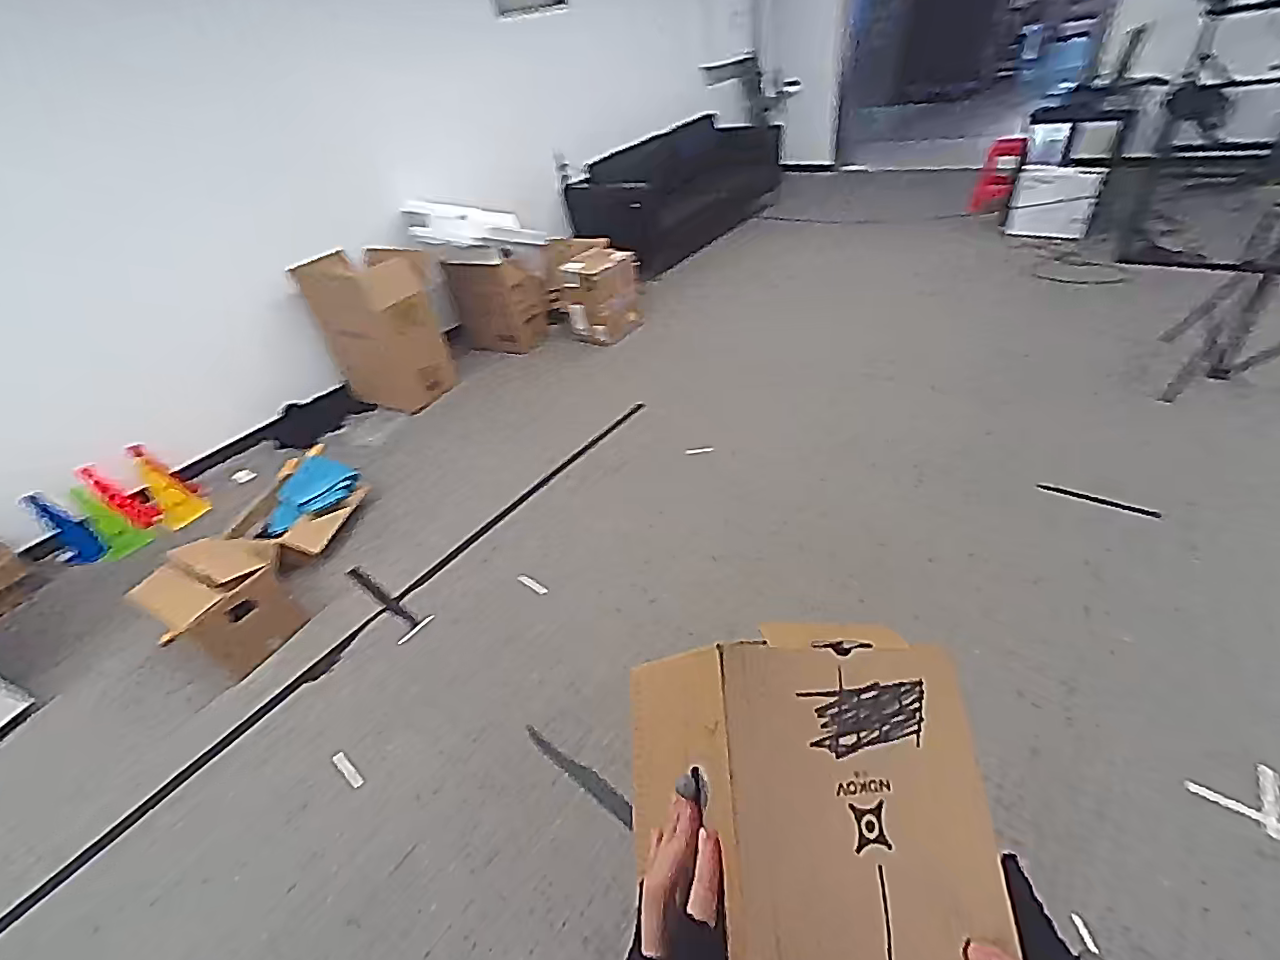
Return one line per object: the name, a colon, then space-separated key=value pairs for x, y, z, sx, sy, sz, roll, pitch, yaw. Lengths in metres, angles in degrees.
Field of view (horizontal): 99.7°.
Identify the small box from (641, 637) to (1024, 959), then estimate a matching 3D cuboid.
small box: x=0.102 y=0.211 z=0.367 sx=0.168 sy=0.176 sz=0.179 roll=7 pitch=65 yaw=-17
